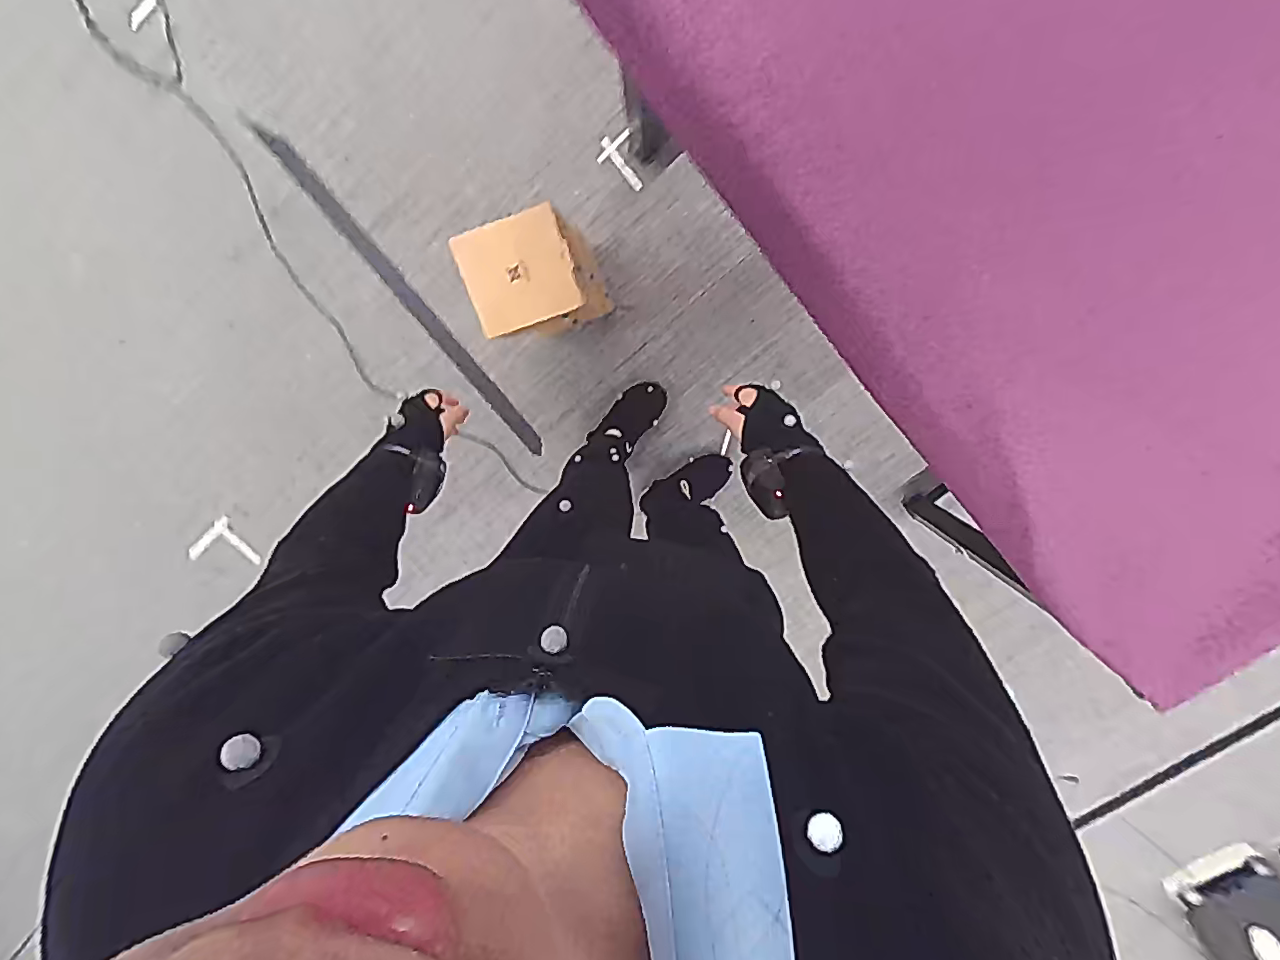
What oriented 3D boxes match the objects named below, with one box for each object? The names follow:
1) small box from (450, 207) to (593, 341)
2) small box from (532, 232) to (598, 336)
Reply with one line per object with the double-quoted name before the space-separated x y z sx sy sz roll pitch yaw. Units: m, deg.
"small box" -0.196 -0.348 0.947 0.179 0.176 0.168 -18 104 6
"small box" -0.186 -0.391 1.104 0.179 0.176 0.168 -11 105 5
